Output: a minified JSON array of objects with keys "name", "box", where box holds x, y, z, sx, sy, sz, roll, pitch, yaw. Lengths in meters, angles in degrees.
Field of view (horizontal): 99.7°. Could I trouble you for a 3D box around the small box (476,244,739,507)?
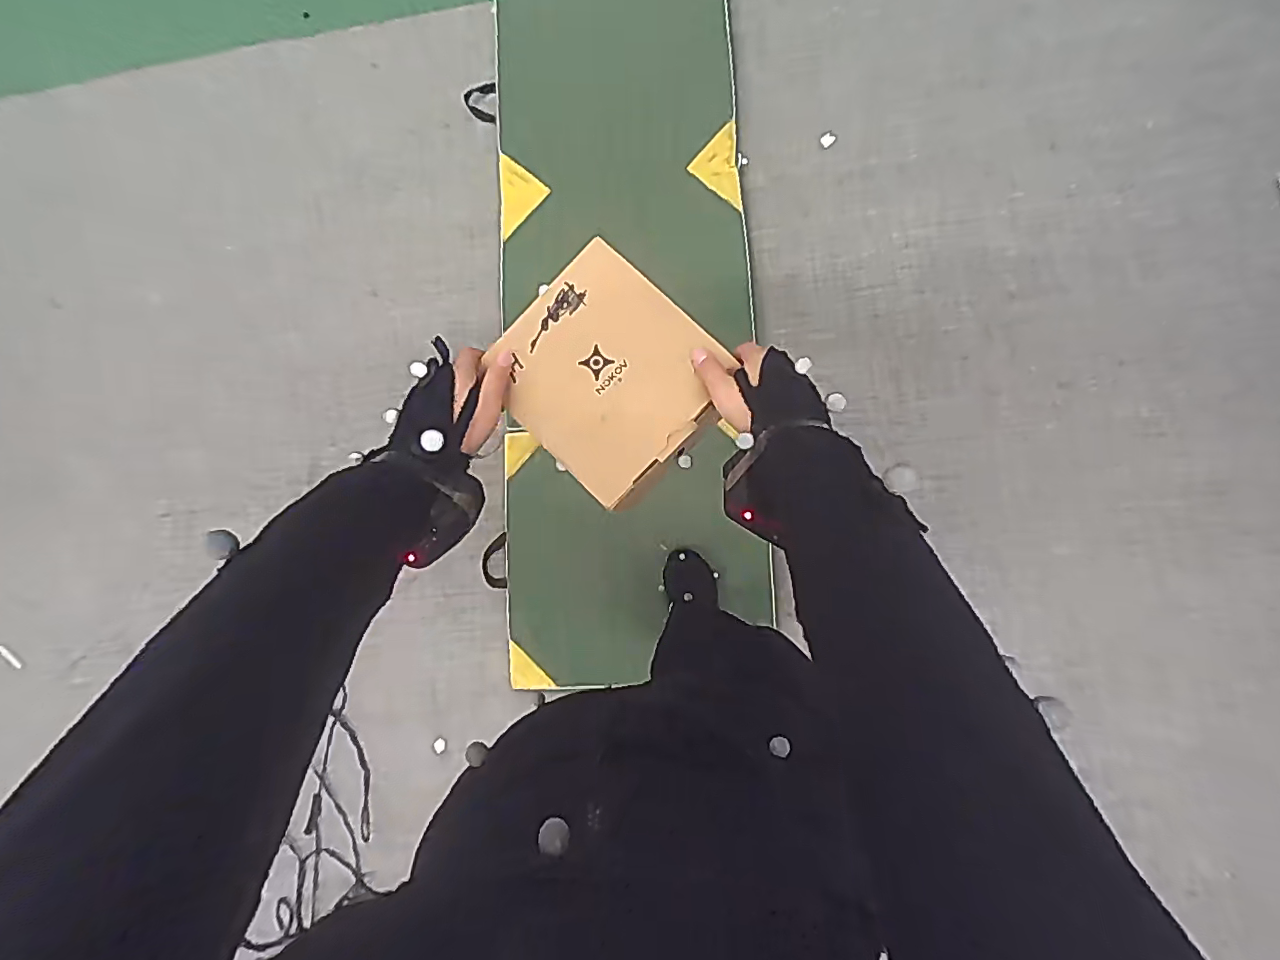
[{"name":"small box","box":[-0.023,-0.089,0.548,0.179,0.176,0.168,44,90,7]}]
